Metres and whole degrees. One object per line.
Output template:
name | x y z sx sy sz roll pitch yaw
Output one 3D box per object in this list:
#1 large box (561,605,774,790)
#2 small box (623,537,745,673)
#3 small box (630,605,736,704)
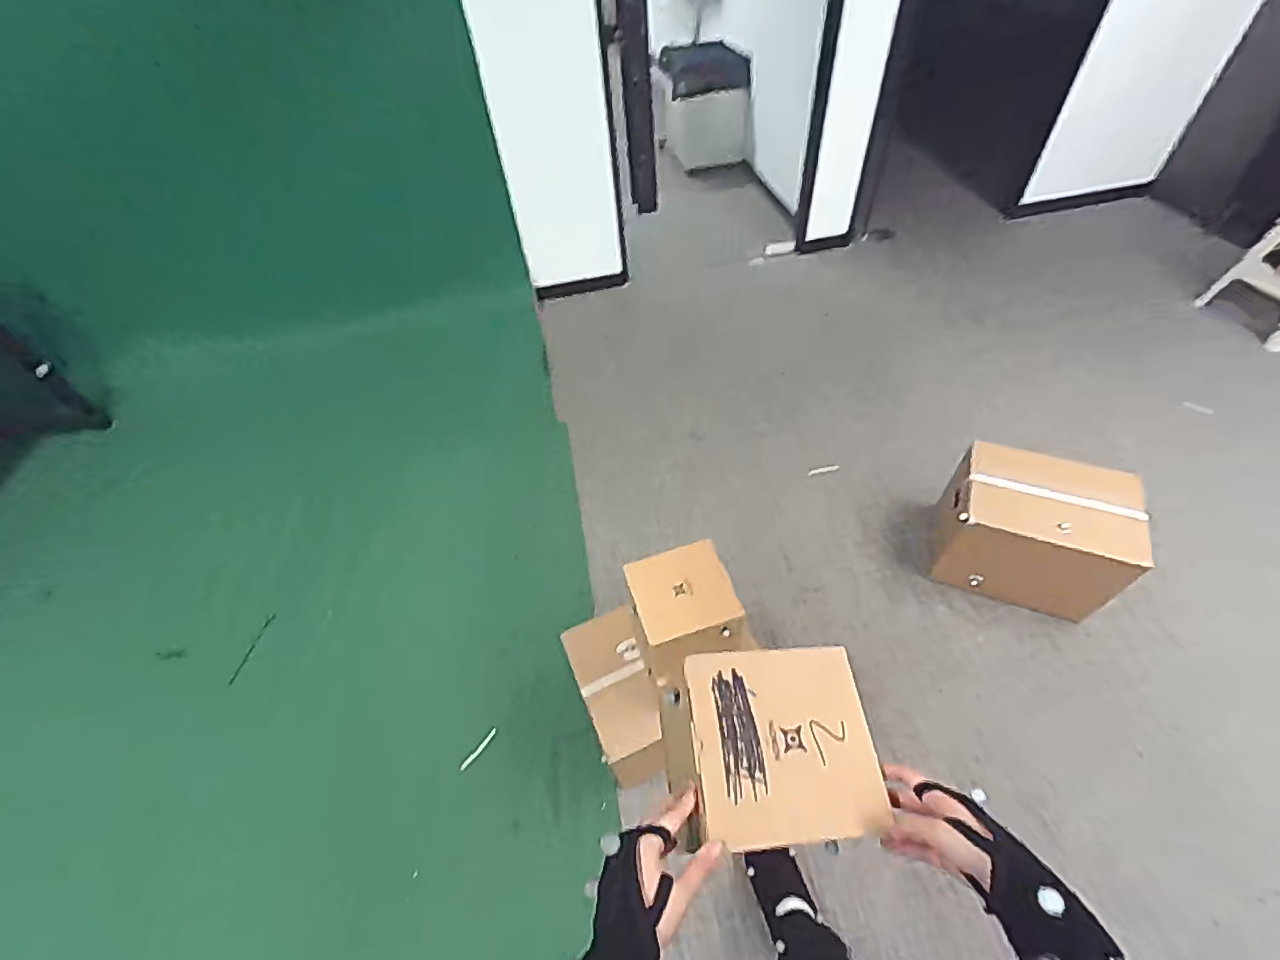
large box | 0.067 0.492 1.334 0.408 0.320 0.320 -22 51 -12
small box | 0.079 0.238 1.012 0.179 0.176 0.168 -16 51 -9
small box | 0.087 0.347 1.132 0.168 0.176 0.179 -16 51 -10
